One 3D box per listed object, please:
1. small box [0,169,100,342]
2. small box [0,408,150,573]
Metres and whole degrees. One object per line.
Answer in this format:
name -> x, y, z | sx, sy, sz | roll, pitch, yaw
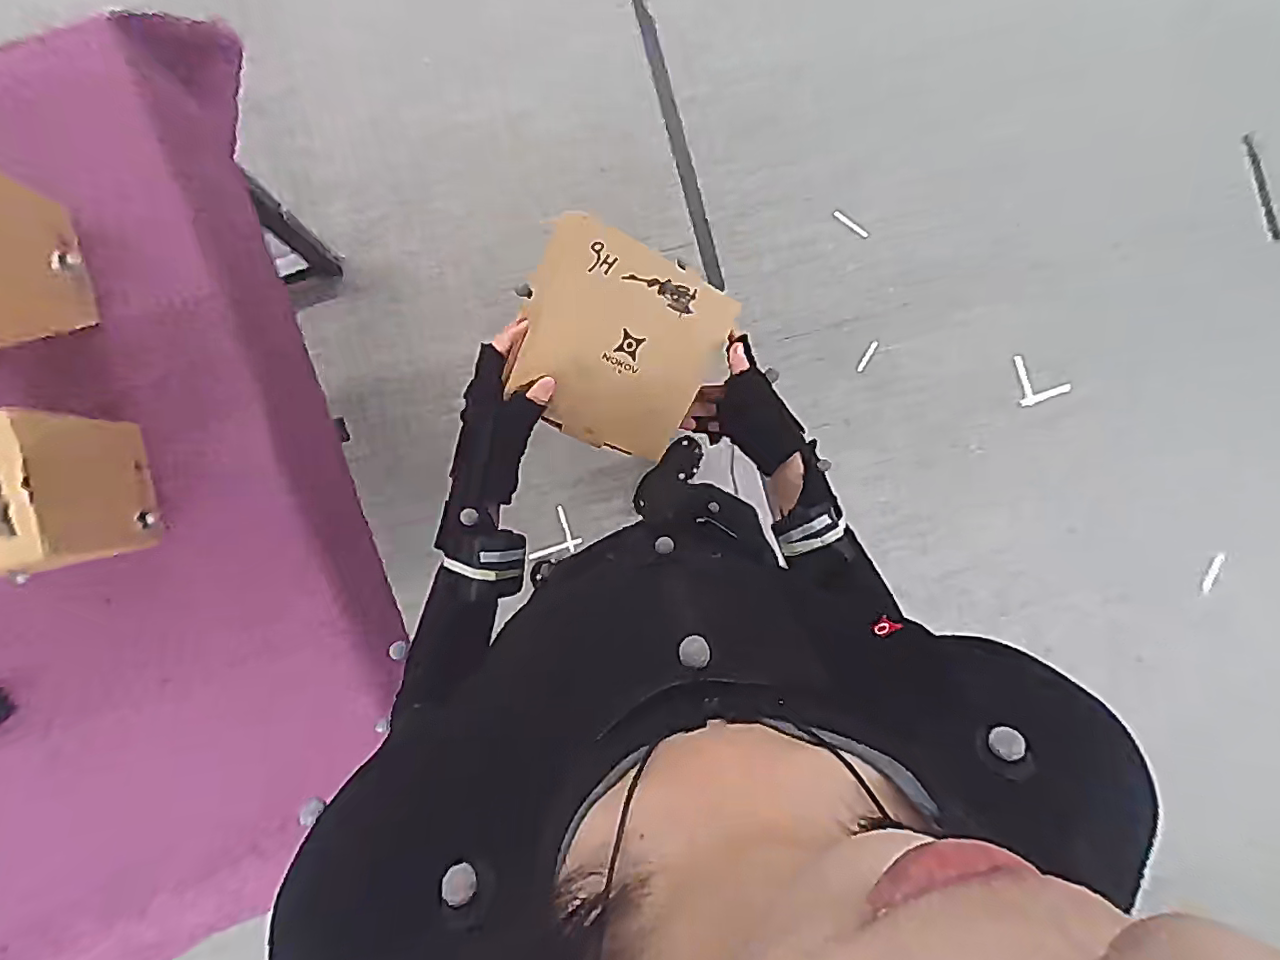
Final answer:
small box -> -0.819, -0.271, 0.638 | 0.179, 0.176, 0.168 | -17, 92, -7
small box -> -0.734, 0.020, 0.639 | 0.179, 0.176, 0.168 | -13, 90, -5
